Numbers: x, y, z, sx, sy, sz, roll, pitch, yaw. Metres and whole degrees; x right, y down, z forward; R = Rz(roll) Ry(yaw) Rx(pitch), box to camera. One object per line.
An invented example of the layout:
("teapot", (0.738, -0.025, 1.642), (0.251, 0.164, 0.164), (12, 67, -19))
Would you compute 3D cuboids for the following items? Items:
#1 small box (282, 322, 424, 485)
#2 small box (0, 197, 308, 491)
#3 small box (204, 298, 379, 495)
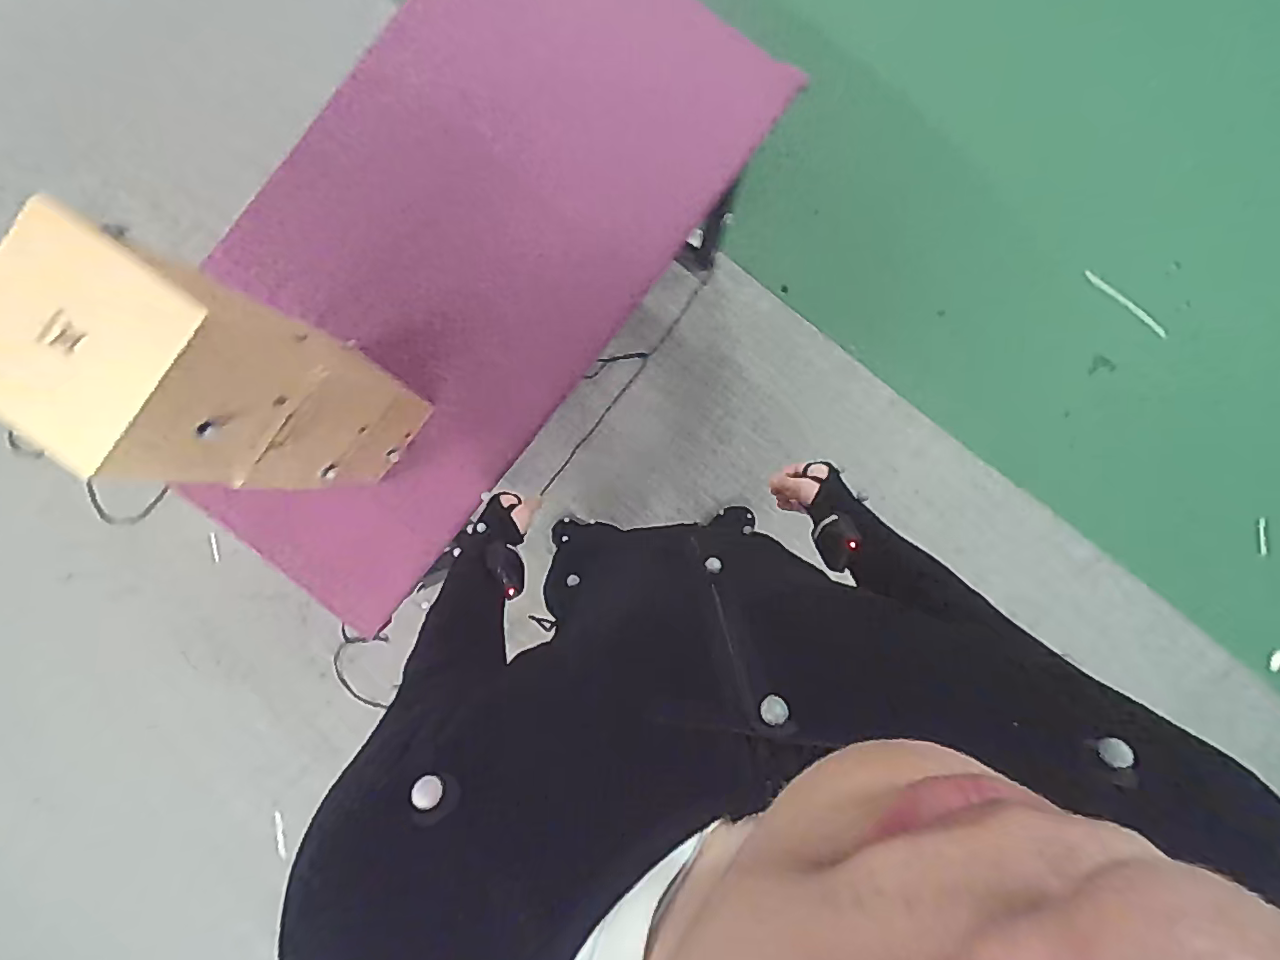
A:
("small box", (-0.471, -0.102, 0.822), (0.179, 0.176, 0.168), (37, 89, 0))
("small box", (-0.459, -0.106, 0.496), (0.179, 0.176, 0.168), (34, 89, 1))
("small box", (-0.463, -0.099, 0.658), (0.179, 0.176, 0.168), (37, 89, 2))
